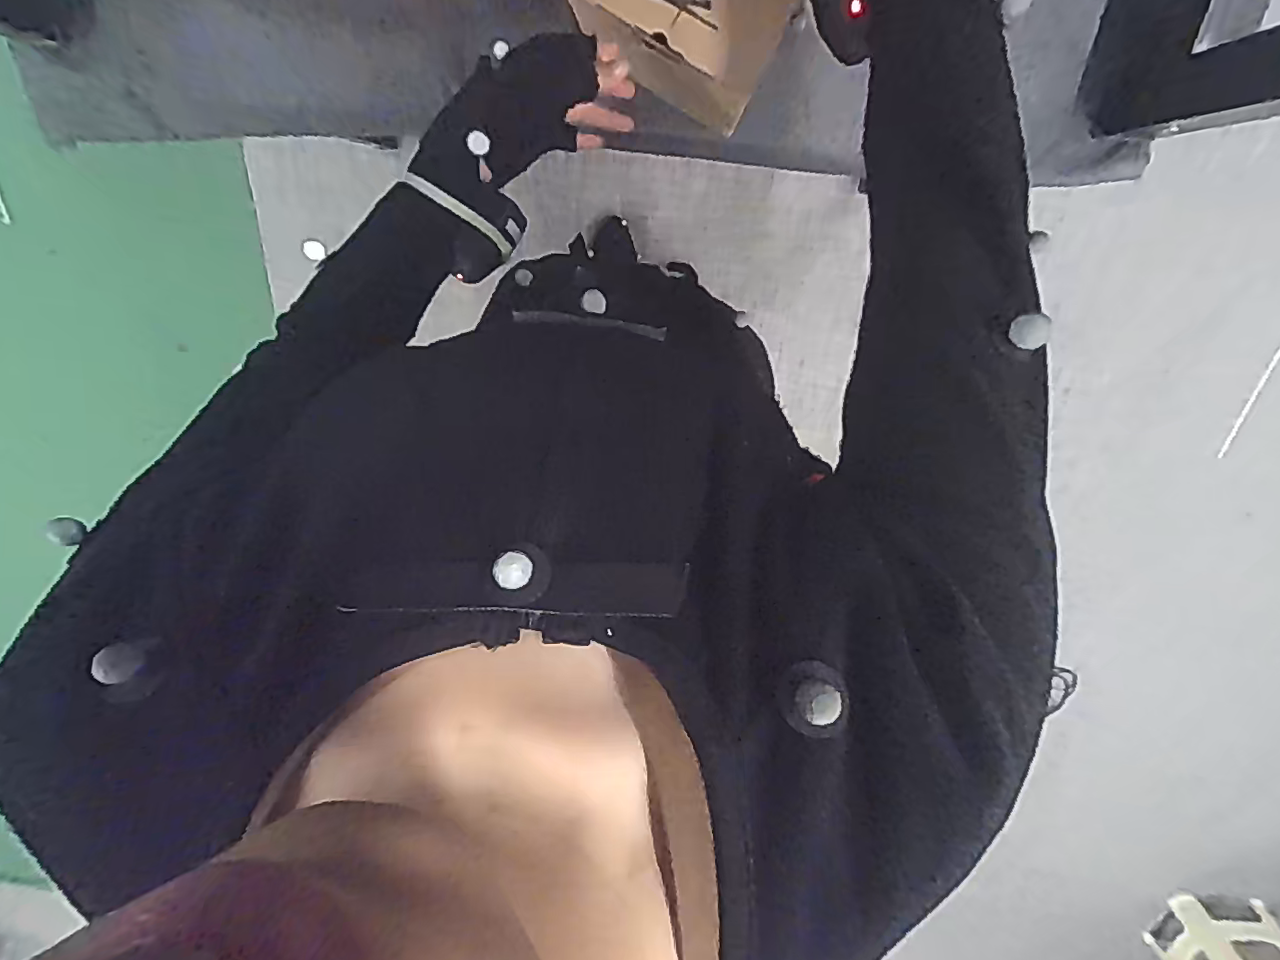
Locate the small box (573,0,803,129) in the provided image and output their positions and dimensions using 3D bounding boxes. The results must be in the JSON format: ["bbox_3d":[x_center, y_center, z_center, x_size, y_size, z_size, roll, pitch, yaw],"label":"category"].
[{"bbox_3d":[0.060,-0.439,0.461,0.168,0.176,0.179,27,112,-8],"label":"small box"}]
